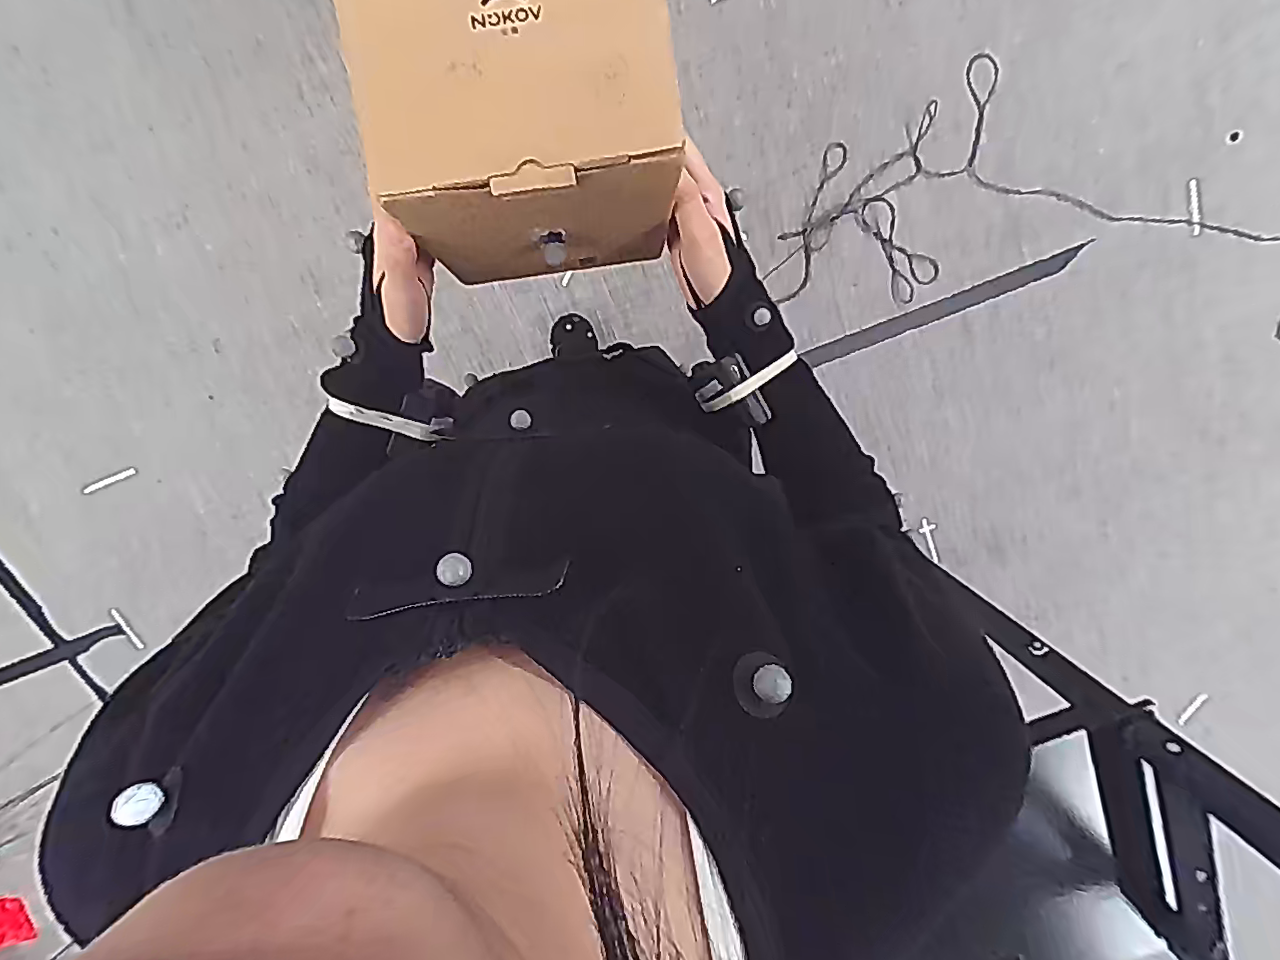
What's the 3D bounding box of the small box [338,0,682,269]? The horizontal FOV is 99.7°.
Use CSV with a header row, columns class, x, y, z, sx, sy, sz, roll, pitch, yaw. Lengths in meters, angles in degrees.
class,x,y,z,sx,sy,sz,roll,pitch,yaw
small box,-0.071,-0.249,0.351,0.168,0.176,0.179,-9,96,-2
